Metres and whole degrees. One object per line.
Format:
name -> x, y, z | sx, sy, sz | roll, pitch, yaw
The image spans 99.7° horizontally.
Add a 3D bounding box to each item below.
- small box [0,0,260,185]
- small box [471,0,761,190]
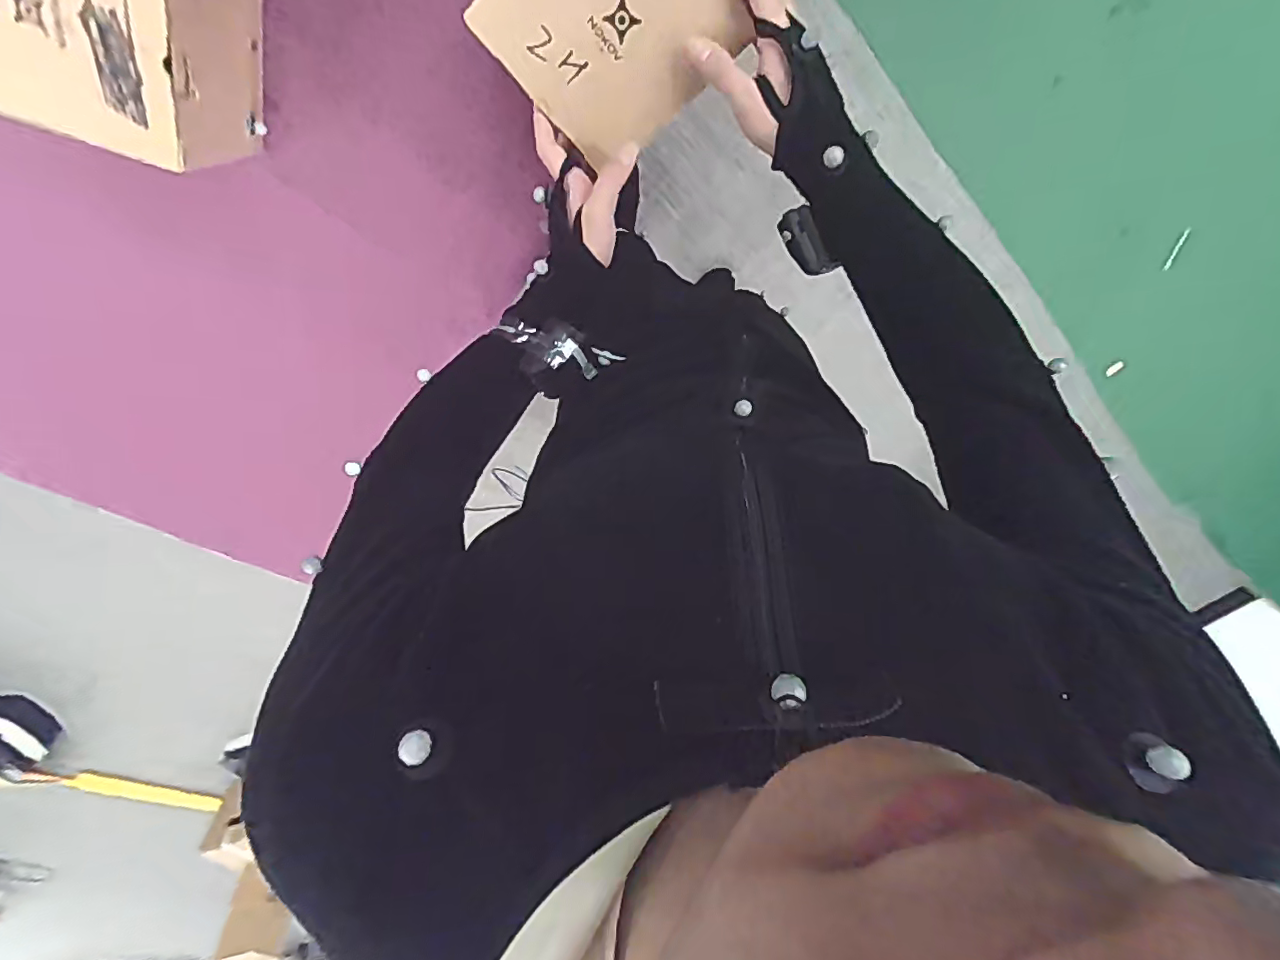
small box -> -0.474, -0.399, 0.492 | 0.179, 0.176, 0.168 | 14, 124, -16
small box -> -0.020, -0.413, 0.479 | 0.179, 0.176, 0.168 | -29, 133, 30
